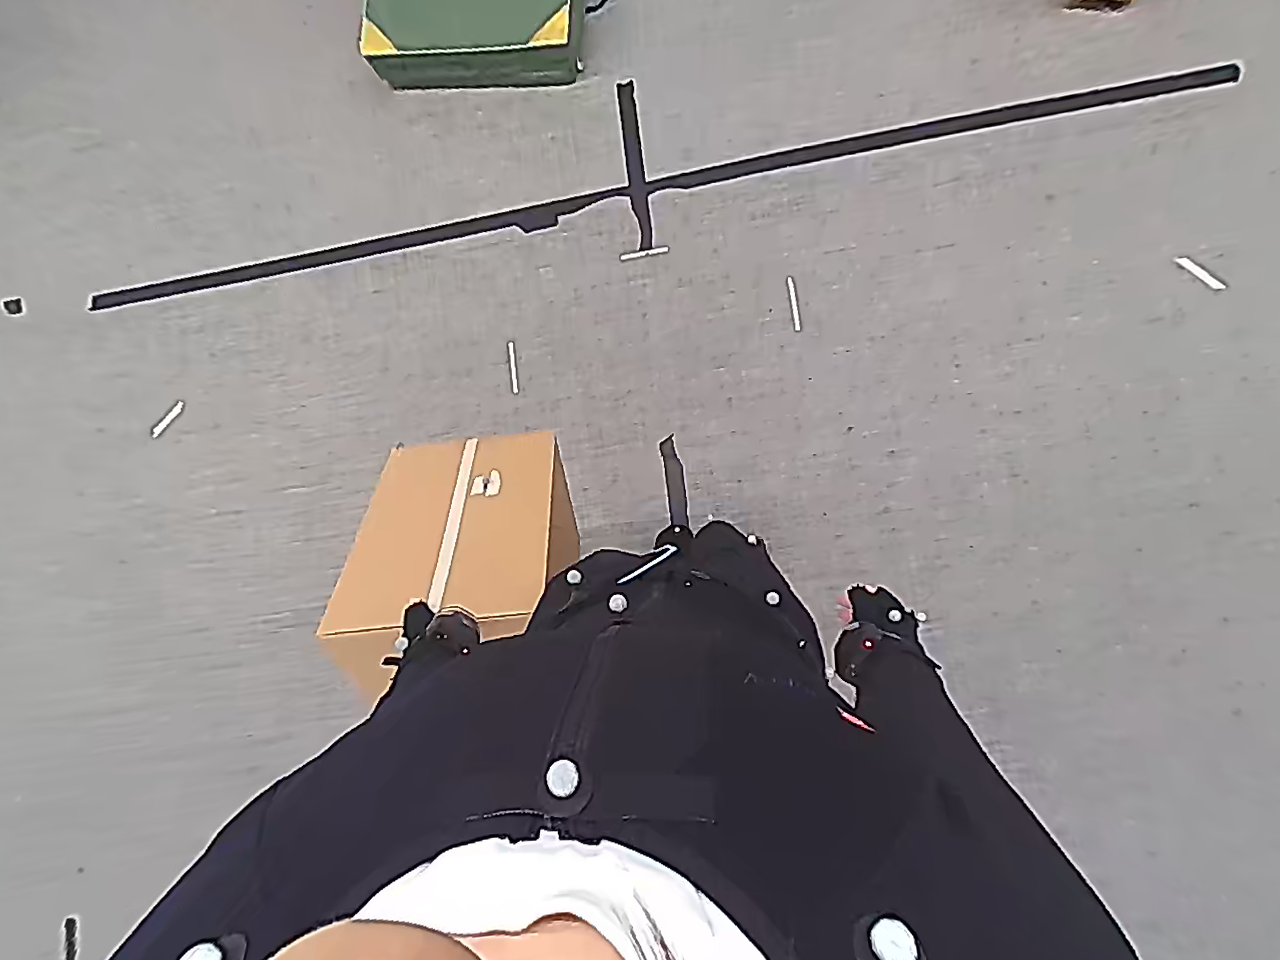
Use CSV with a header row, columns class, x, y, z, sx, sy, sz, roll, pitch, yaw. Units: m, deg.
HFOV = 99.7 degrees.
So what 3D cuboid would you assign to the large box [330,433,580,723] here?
class,x,y,z,sx,sy,sz,roll,pitch,yaw
large box,-0.285,0.168,0.986,0.320,0.320,0.408,-5,43,-1
